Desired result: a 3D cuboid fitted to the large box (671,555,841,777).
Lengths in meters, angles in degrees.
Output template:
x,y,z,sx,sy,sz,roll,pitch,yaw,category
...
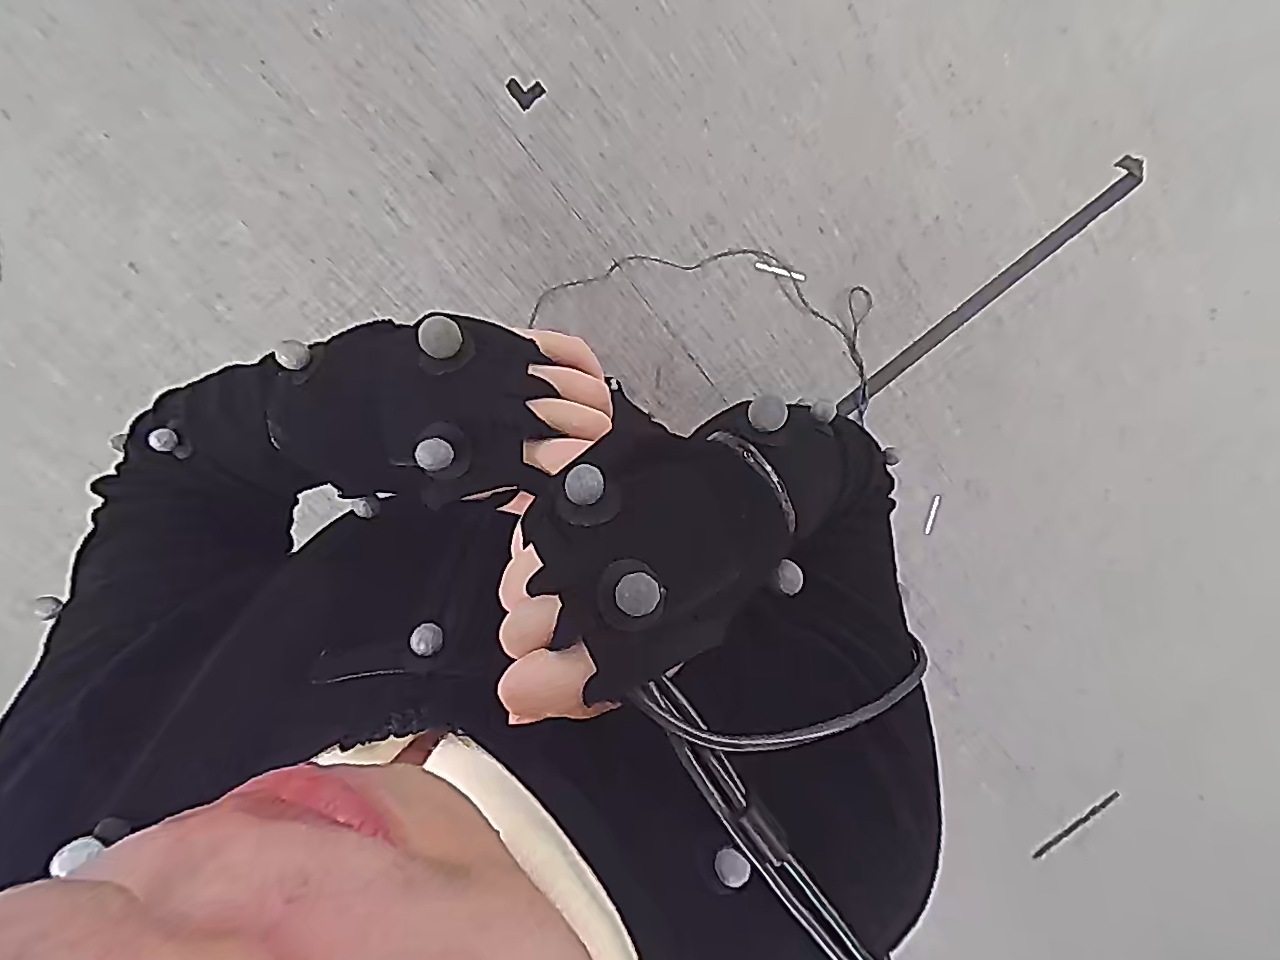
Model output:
x,y,z,sx,sy,sz,roll,pitch,yaw,category
0.252,0.424,1.303,0.320,0.320,0.408,0,104,-6,large box
